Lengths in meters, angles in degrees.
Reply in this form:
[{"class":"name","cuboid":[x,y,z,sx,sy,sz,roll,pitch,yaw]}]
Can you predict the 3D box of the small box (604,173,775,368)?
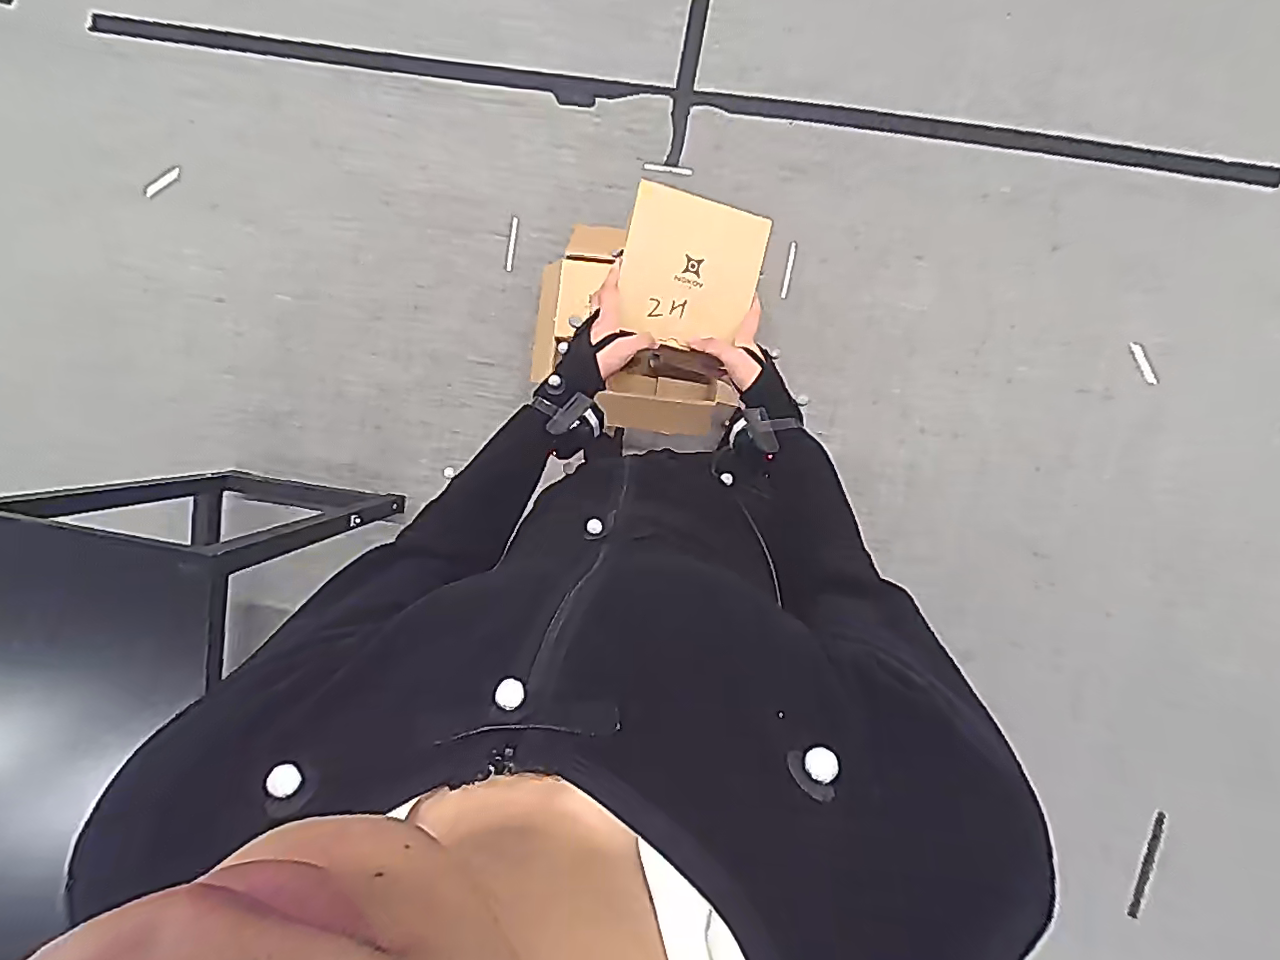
[{"class":"small box","cuboid":[0.052,-0.257,0.709,0.168,0.176,0.179,13,95,-9]}]
